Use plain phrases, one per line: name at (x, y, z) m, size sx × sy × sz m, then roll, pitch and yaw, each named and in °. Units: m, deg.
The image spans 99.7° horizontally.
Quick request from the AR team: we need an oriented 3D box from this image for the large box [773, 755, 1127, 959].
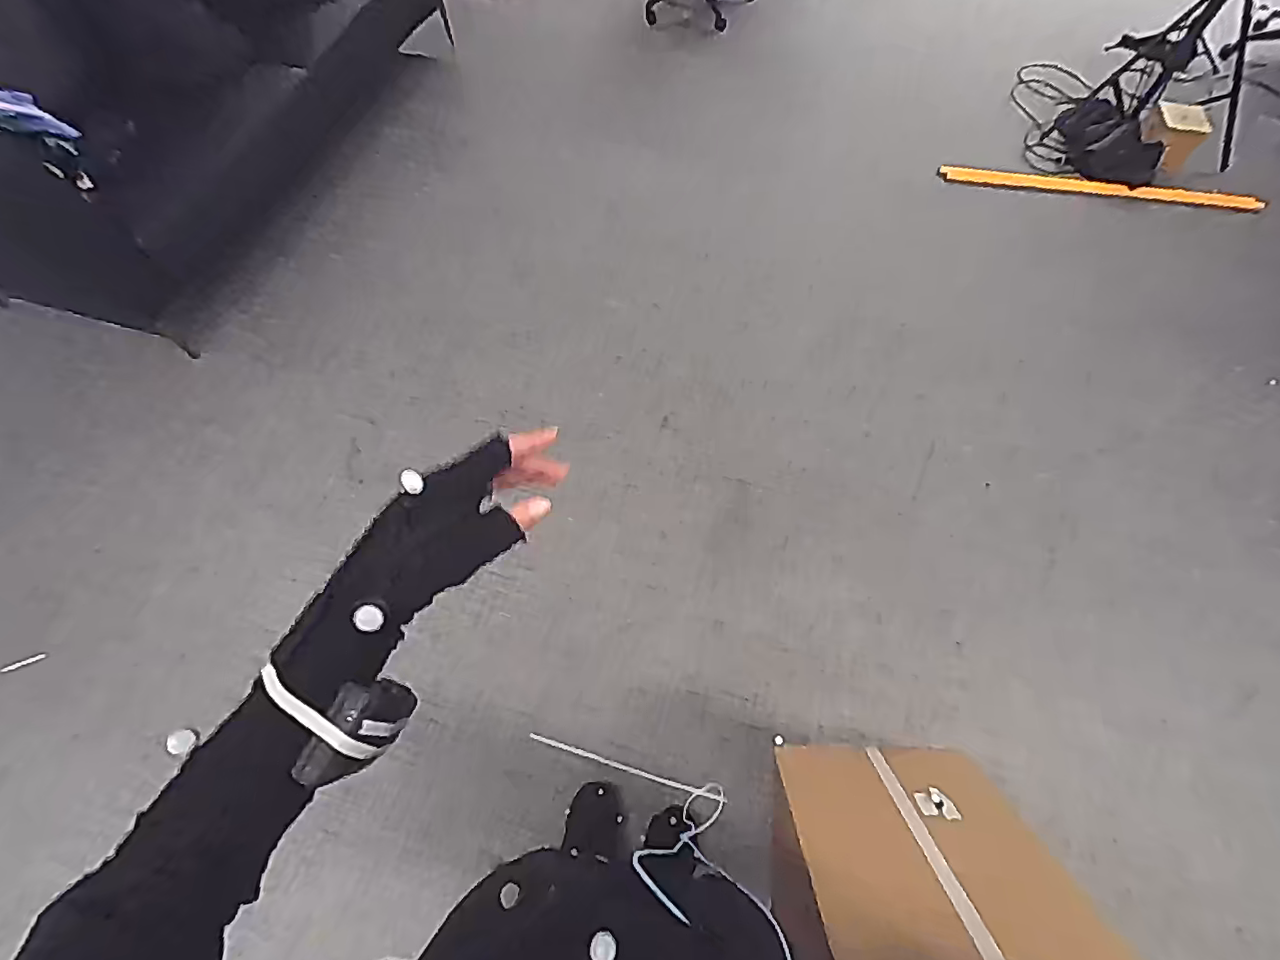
large box at (0.366, 0.635, 0.713) m, size 0.320 × 0.408 × 0.320 m, roll 1°, pitch 97°, yaw 4°
